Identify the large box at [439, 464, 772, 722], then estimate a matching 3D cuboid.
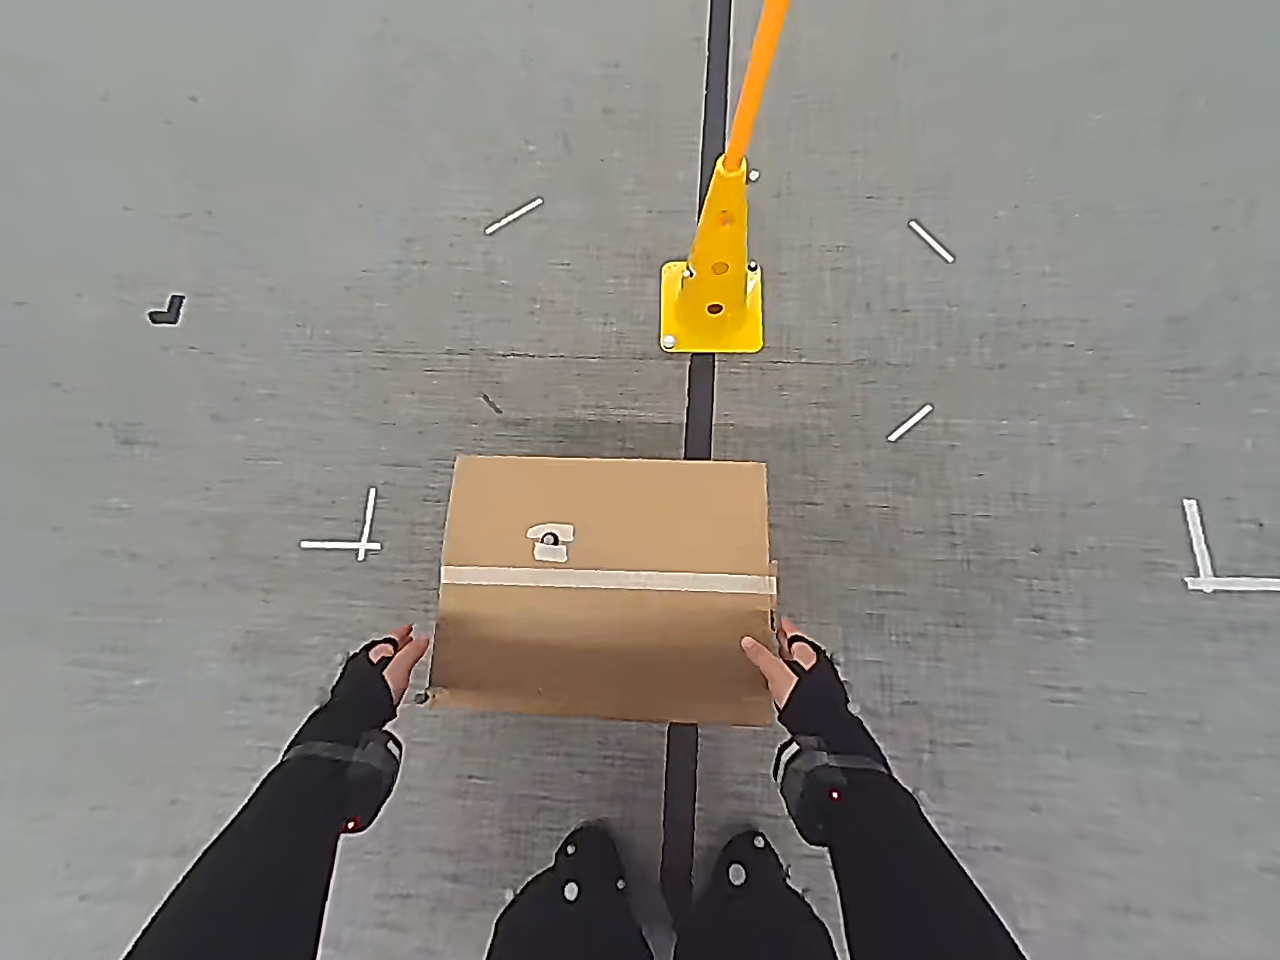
[{"bbox_3d":[-0.031,0.165,0.816,0.408,0.320,0.320,1,75,5],"label":"large box"}]
